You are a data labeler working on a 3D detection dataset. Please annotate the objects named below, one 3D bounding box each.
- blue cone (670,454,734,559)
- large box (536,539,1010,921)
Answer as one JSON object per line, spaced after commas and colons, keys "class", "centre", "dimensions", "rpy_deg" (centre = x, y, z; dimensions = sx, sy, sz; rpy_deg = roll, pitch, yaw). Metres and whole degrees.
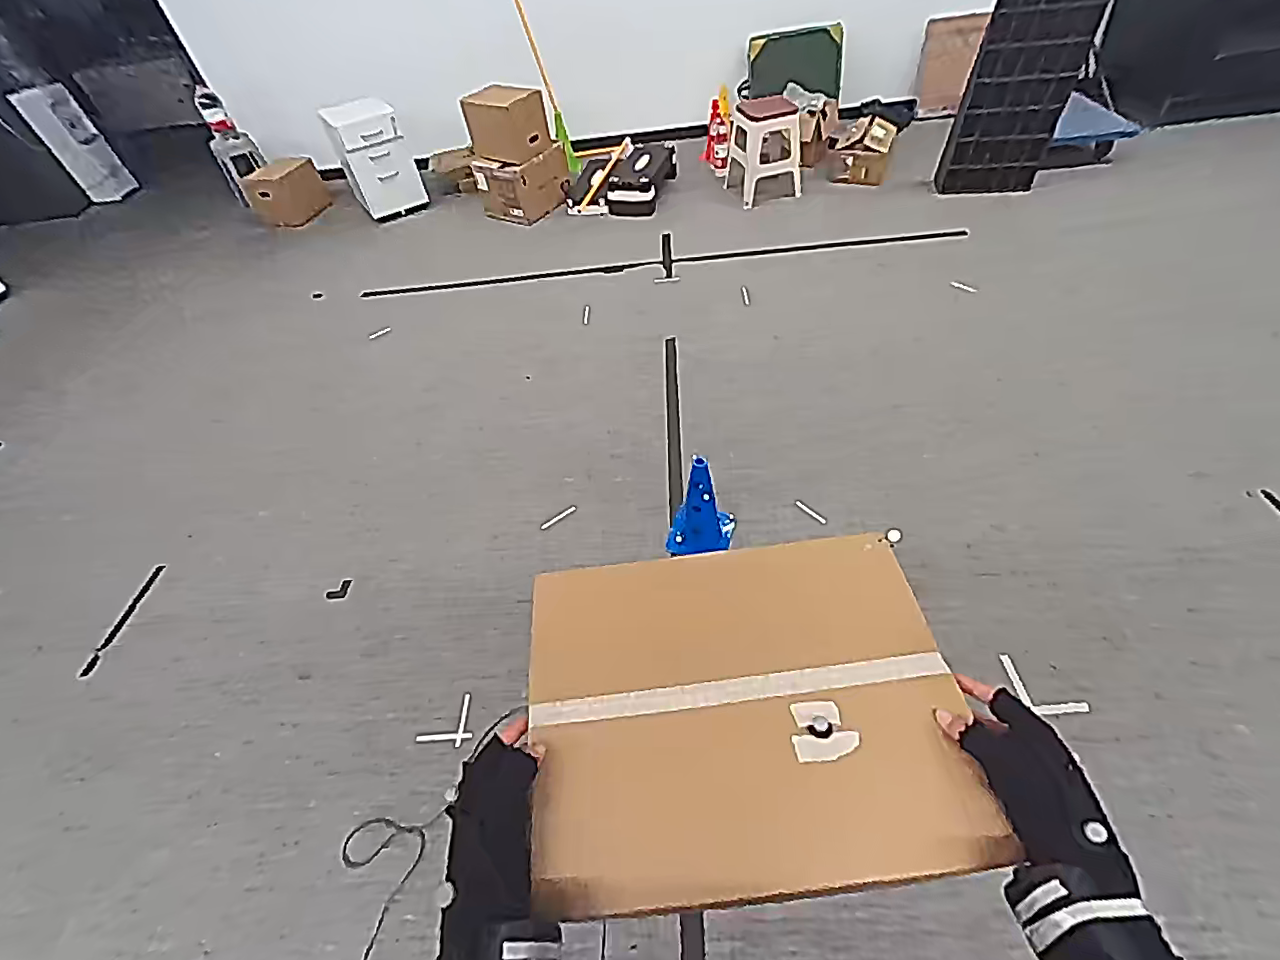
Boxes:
{"class": "blue cone", "centre": [0.192, 0.067, 1.686], "dimensions": [0.193, 0.380, 0.192], "rpy_deg": [13, 52, 18]}
{"class": "large box", "centre": [0.106, 0.305, 0.649], "dimensions": [0.408, 0.320, 0.320], "rpy_deg": [-7, 50, 0]}
